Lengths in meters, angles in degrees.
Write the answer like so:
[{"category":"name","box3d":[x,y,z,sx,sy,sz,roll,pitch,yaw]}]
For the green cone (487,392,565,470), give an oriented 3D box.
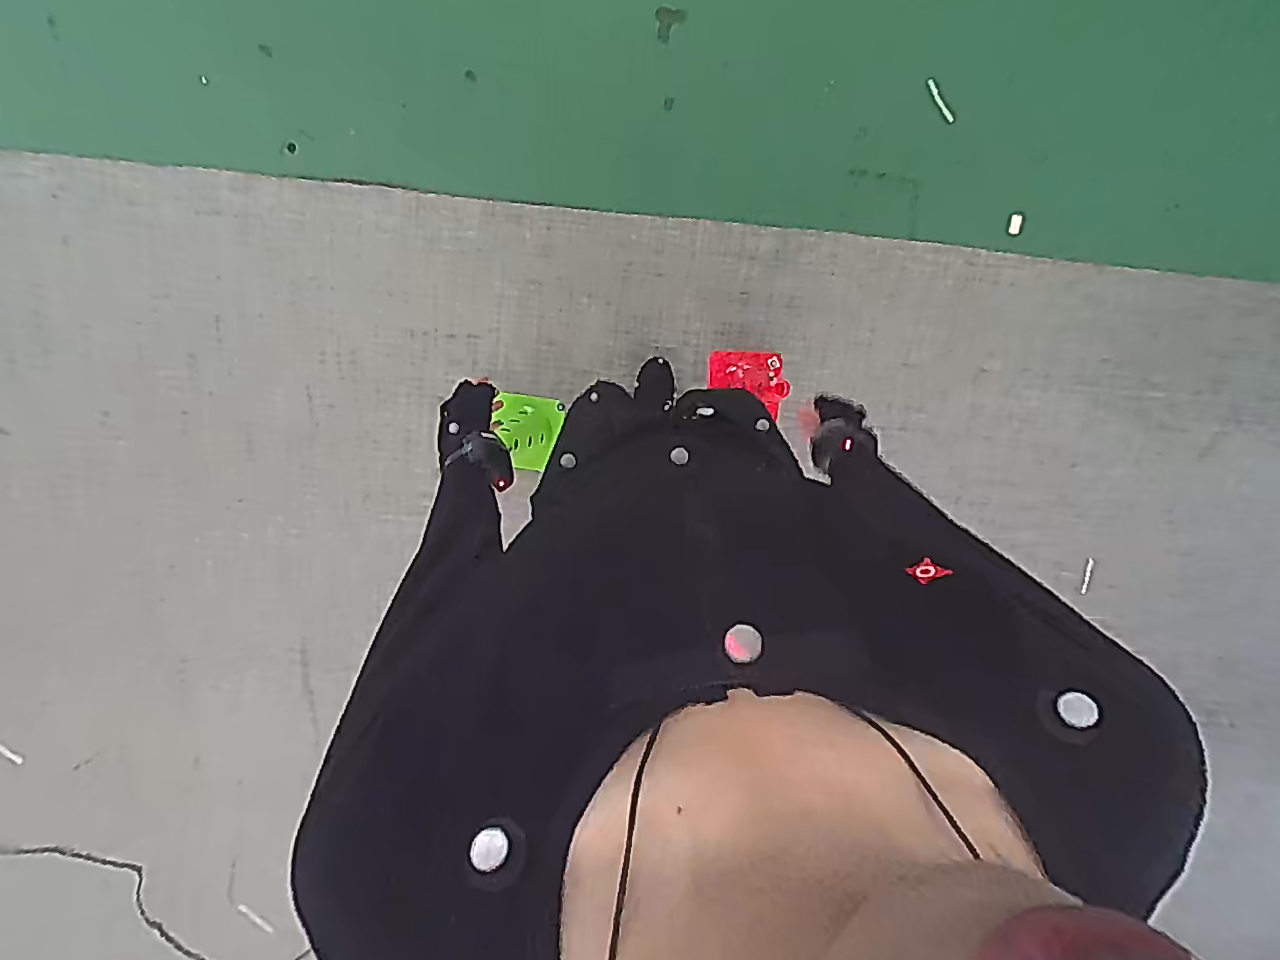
[{"category":"green cone","box3d":[-0.306,-0.101,1.300,0.200,0.368,0.202,7,100,-3]}]
